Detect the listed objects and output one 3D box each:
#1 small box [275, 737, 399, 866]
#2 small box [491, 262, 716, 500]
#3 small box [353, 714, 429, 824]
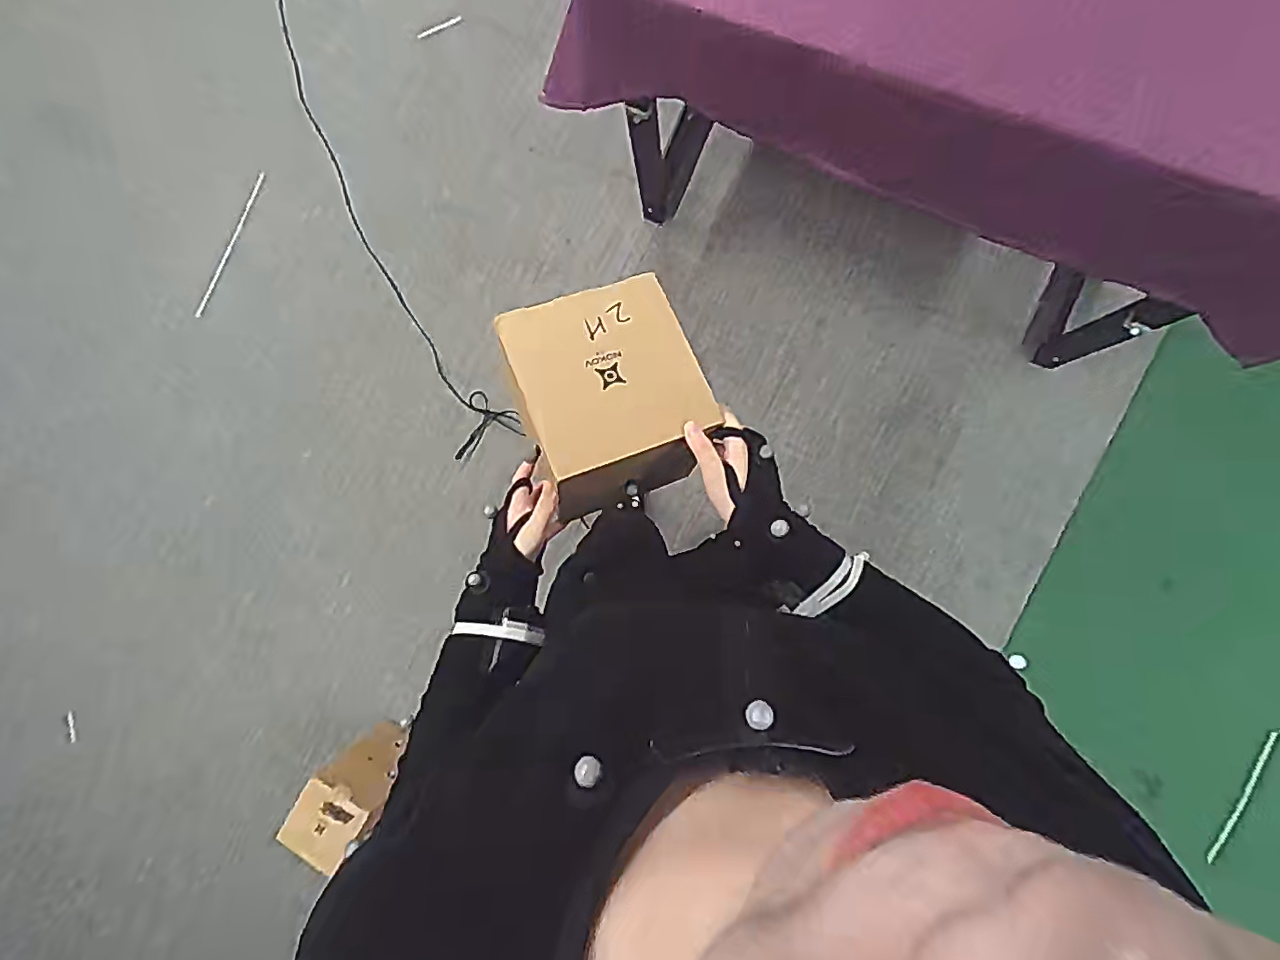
[{"bbox_3d":[-0.723,0.768,1.314,0.168,0.176,0.179,31,92,6],"label":"small box"},{"bbox_3d":[-0.042,-0.090,0.575,0.168,0.176,0.179,-20,77,-12],"label":"small box"},{"bbox_3d":[-0.710,0.777,1.479,0.168,0.176,0.179,29,91,6],"label":"small box"}]
